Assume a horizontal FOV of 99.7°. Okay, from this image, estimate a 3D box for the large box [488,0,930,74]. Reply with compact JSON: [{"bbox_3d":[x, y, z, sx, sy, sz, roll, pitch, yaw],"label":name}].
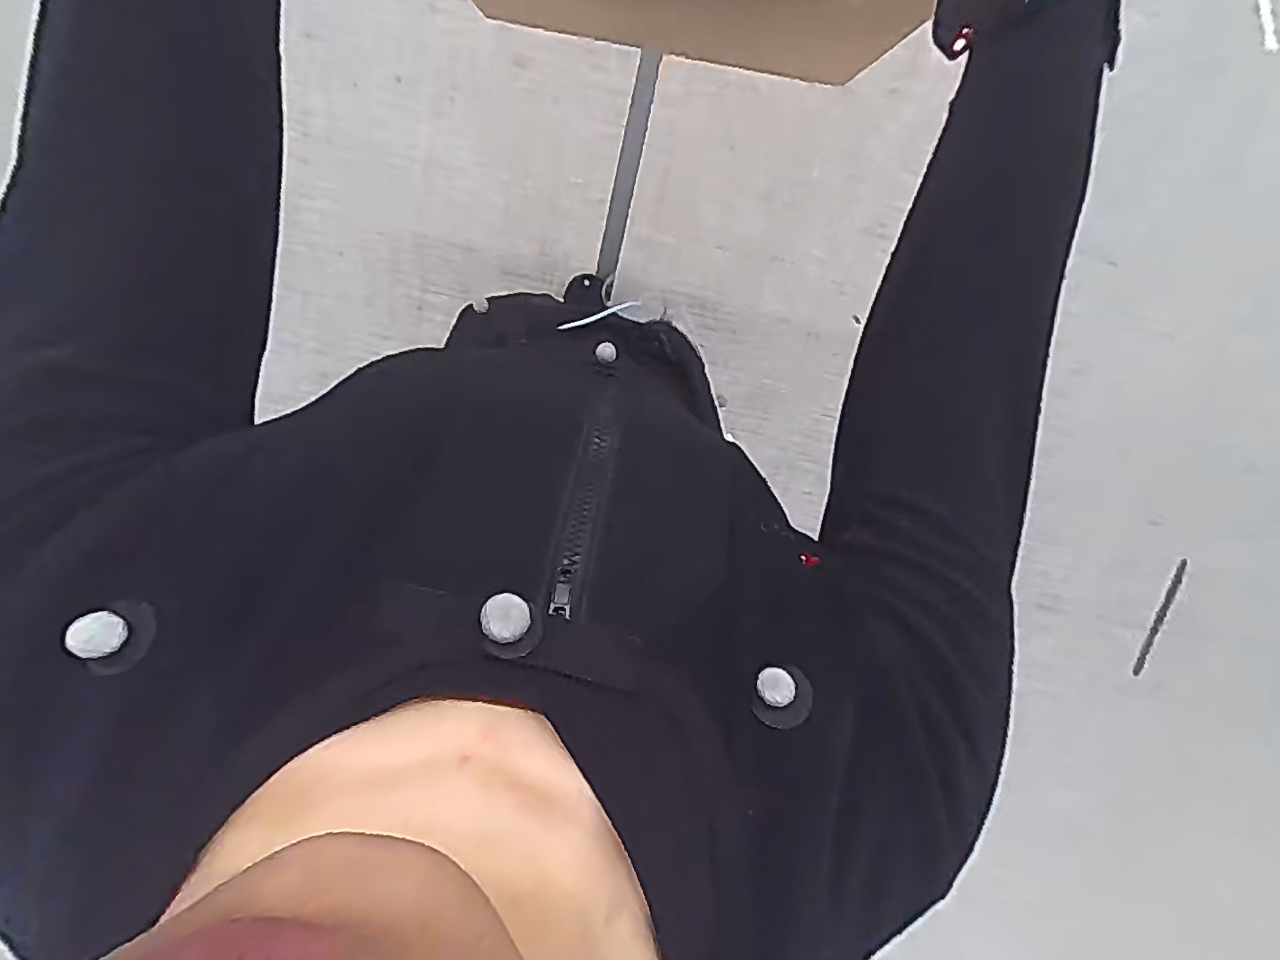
[{"bbox_3d":[0.051,-0.552,0.398,0.408,0.320,0.320,10,116,-2],"label":"large box"}]
